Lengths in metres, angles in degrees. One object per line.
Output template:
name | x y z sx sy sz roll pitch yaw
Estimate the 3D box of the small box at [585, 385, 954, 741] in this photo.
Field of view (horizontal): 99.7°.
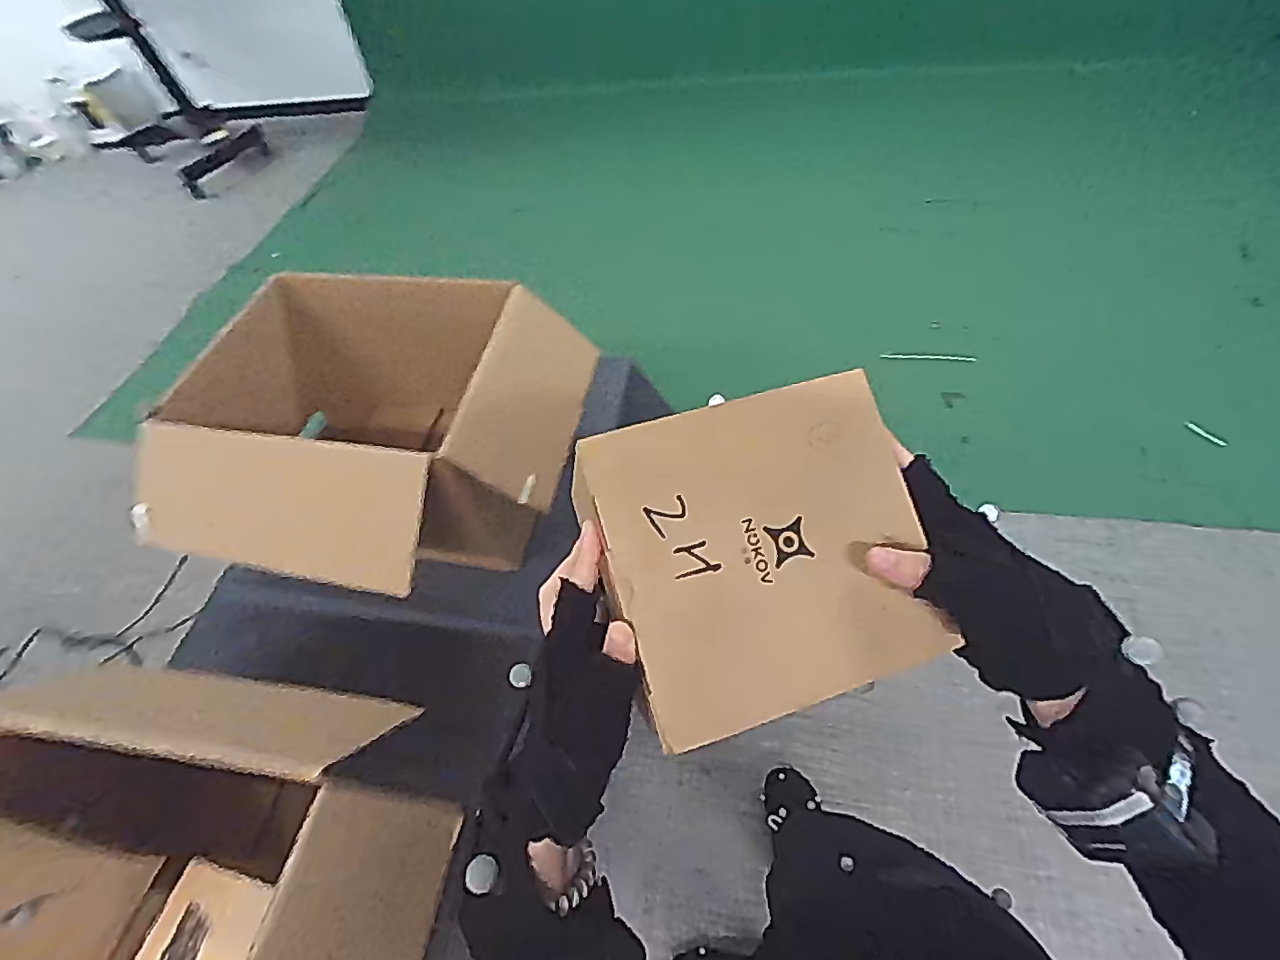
small box | 0.065 0.052 0.378 0.179 0.176 0.168 -13 80 -10
